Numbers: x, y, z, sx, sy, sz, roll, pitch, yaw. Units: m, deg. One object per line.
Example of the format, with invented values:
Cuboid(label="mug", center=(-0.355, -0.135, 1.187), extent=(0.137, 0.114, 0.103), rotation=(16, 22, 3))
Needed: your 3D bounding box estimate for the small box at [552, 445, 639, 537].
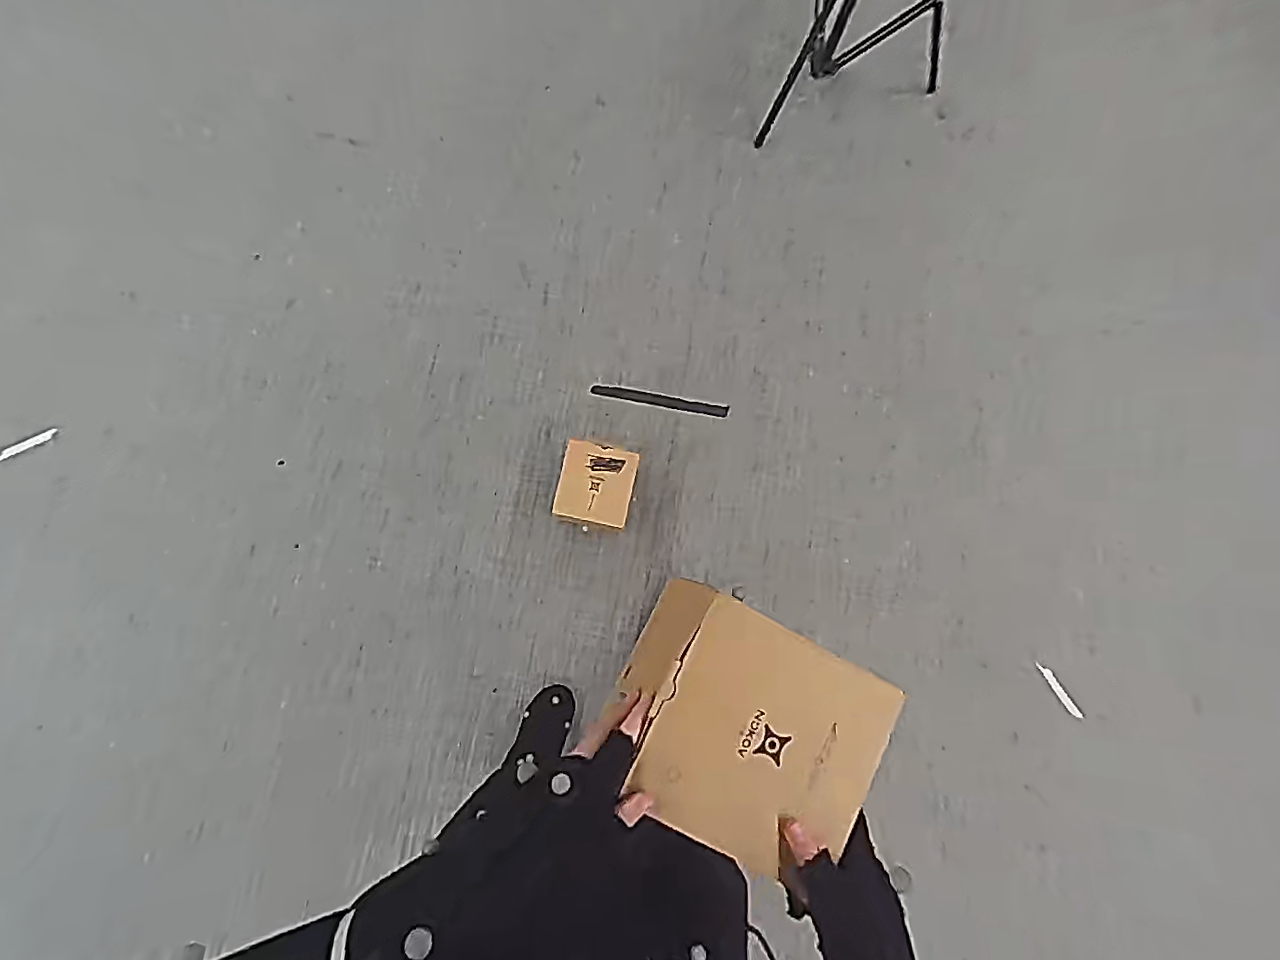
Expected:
Cuboid(label="small box", center=(-0.104, 0.033, 1.290), extent=(0.168, 0.176, 0.179), rotation=(13, 81, -1))

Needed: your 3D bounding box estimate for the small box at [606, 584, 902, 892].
Cuboid(label="small box", center=(0.083, 0.204, 0.483), extent=(0.179, 0.176, 0.168), rotation=(28, 81, -6))
